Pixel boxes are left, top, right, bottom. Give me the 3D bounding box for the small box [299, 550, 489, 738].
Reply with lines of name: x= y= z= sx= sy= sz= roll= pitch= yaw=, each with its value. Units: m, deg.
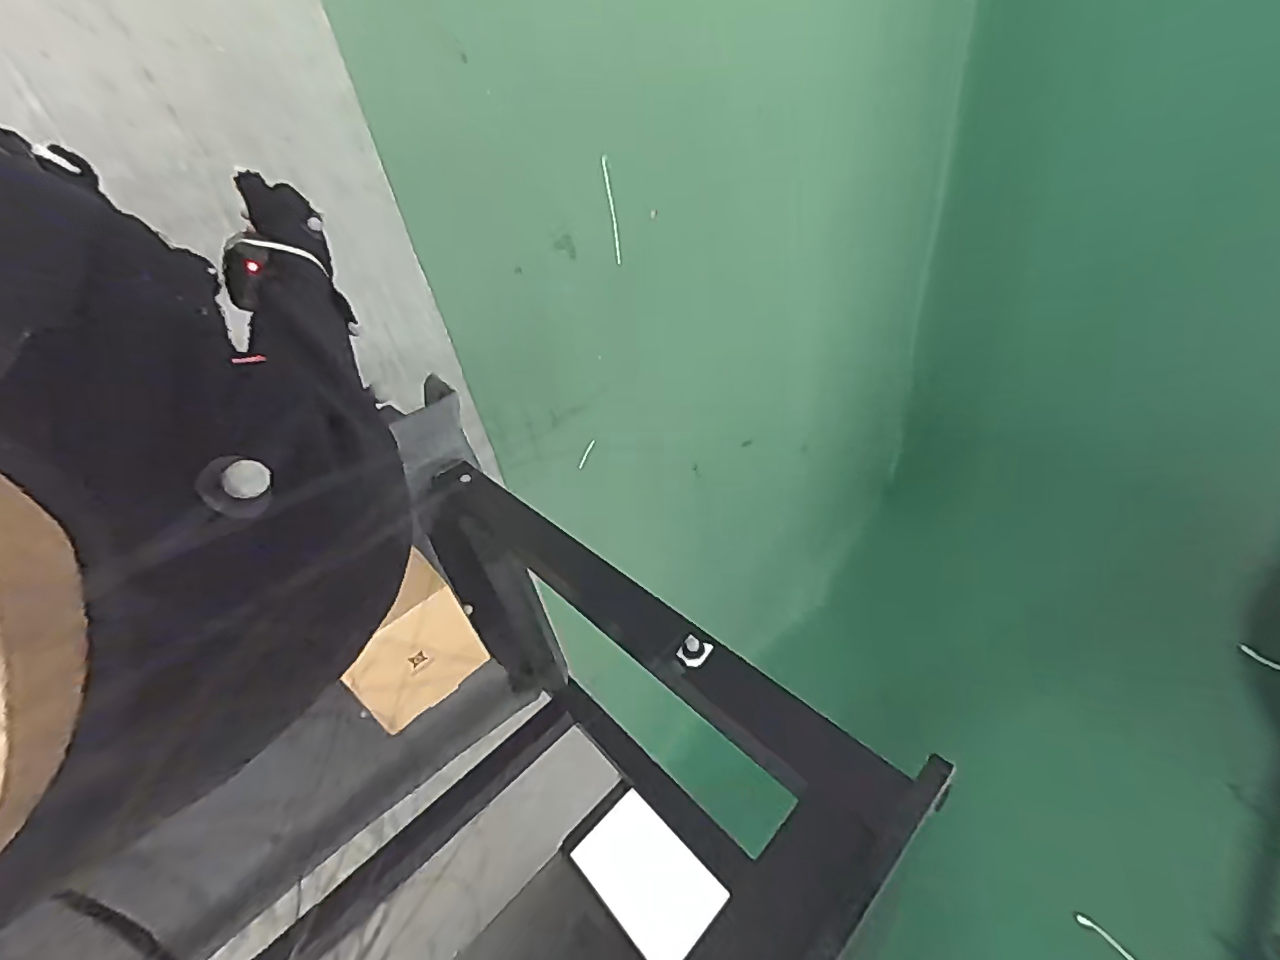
small box: x=-0.358 y=0.224 z=0.790 sx=0.168 sy=0.176 sz=0.179 roll=-36 pitch=133 yaw=-28
